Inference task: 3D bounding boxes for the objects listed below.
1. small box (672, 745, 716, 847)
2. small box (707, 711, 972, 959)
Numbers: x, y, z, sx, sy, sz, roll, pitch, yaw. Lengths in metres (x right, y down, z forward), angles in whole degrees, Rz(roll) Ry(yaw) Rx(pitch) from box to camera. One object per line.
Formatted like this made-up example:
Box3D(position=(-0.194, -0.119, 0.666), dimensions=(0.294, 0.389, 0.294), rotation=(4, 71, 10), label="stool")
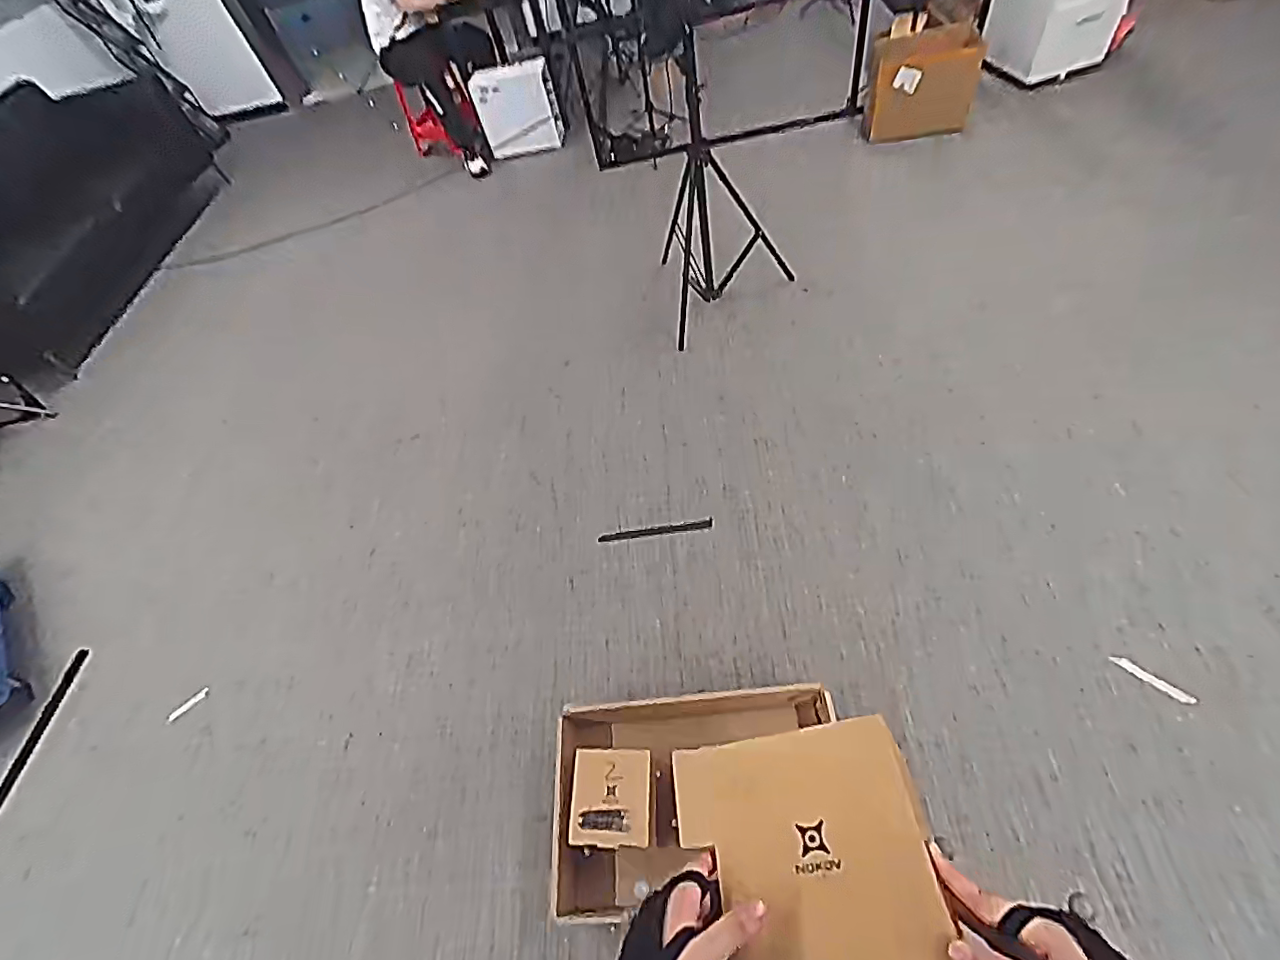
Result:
Box3D(position=(0.167, 0.672, 1.155), dimensions=(0.168, 0.176, 0.179), rotation=(-9, 55, 7), label="small box")
Box3D(position=(0.173, 0.334, 0.482), dimensions=(0.168, 0.176, 0.179), rotation=(-21, 45, 17), label="small box")
